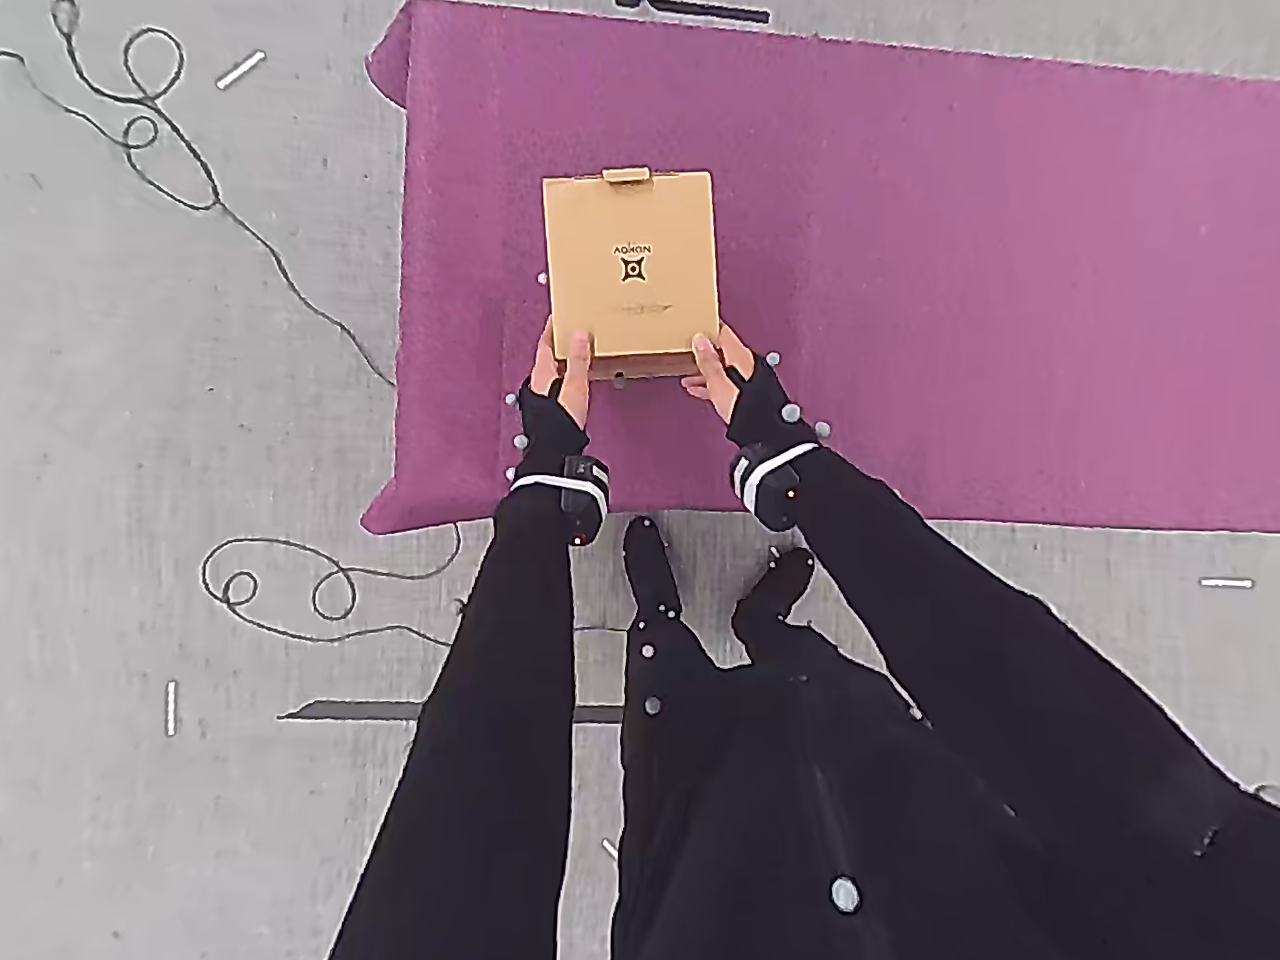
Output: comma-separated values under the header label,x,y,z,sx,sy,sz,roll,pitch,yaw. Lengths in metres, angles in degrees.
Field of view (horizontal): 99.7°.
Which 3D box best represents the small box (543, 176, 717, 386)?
label,x,y,z,sx,sy,sz,roll,pitch,yaw
small box,-0.014,-0.207,0.600,0.168,0.176,0.179,-3,93,-3
